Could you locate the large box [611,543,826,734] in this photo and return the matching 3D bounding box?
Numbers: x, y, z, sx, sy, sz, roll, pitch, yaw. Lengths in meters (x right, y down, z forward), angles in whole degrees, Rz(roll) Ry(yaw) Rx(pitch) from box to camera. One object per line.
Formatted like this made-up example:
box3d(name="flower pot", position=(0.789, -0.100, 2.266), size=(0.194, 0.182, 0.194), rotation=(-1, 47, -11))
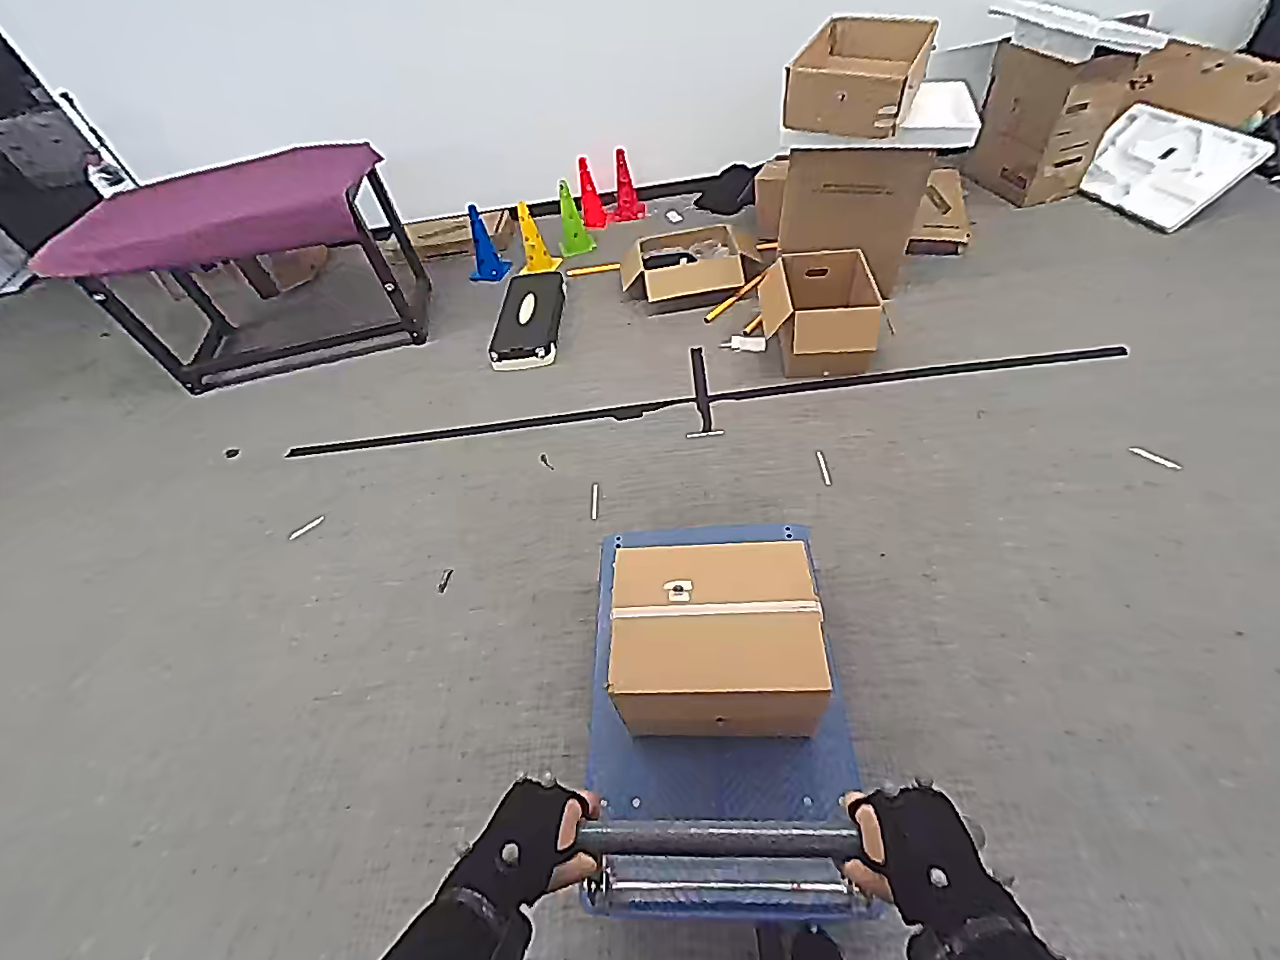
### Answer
box3d(name="large box", position=(0.166, 0.363, 1.204), size=(0.408, 0.320, 0.320), rotation=(-5, 50, 7))
